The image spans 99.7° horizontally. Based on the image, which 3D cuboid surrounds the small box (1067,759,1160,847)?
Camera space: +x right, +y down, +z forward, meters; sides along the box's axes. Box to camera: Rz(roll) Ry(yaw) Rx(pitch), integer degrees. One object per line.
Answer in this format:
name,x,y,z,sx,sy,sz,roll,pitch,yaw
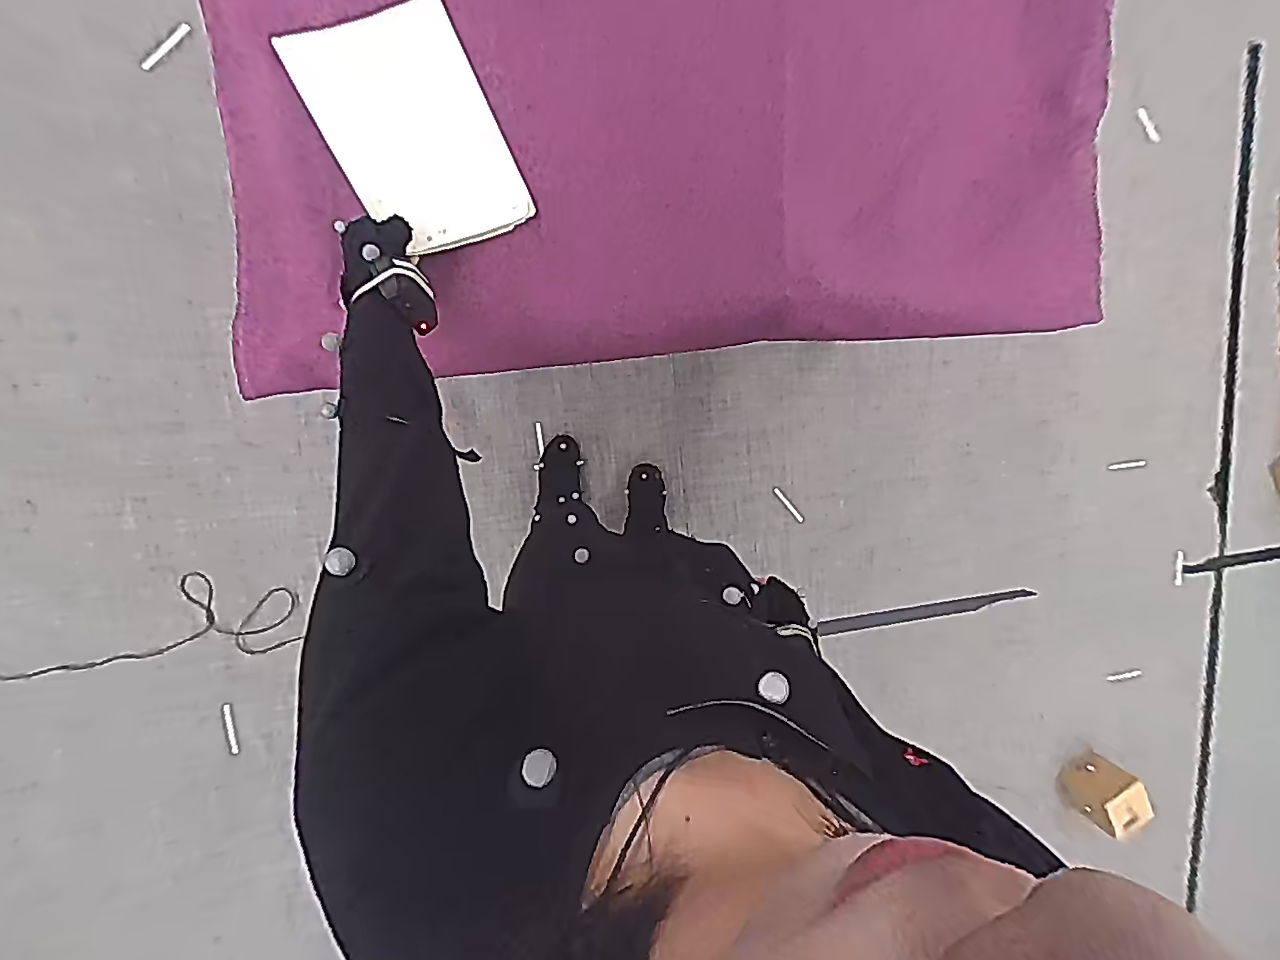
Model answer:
small box,1.695,1.151,1.941,0.168,0.176,0.179,-29,101,-7
